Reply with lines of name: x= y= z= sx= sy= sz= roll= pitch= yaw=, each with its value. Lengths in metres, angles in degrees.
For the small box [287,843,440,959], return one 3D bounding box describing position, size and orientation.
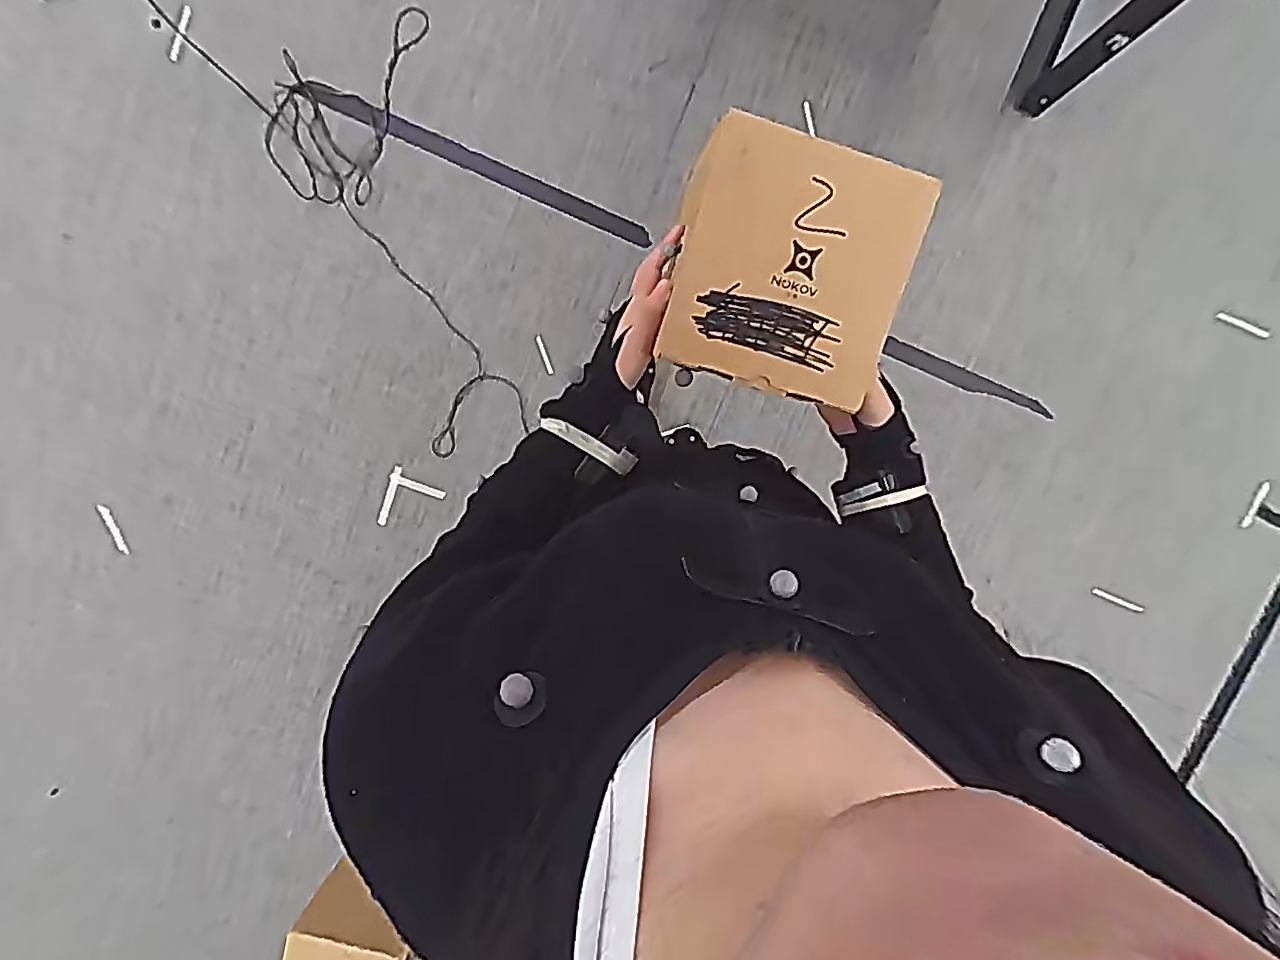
small box: x=-0.441 y=0.734 z=0.870 sx=0.168 sy=0.176 sz=0.179 roll=14 pitch=95 yaw=0
